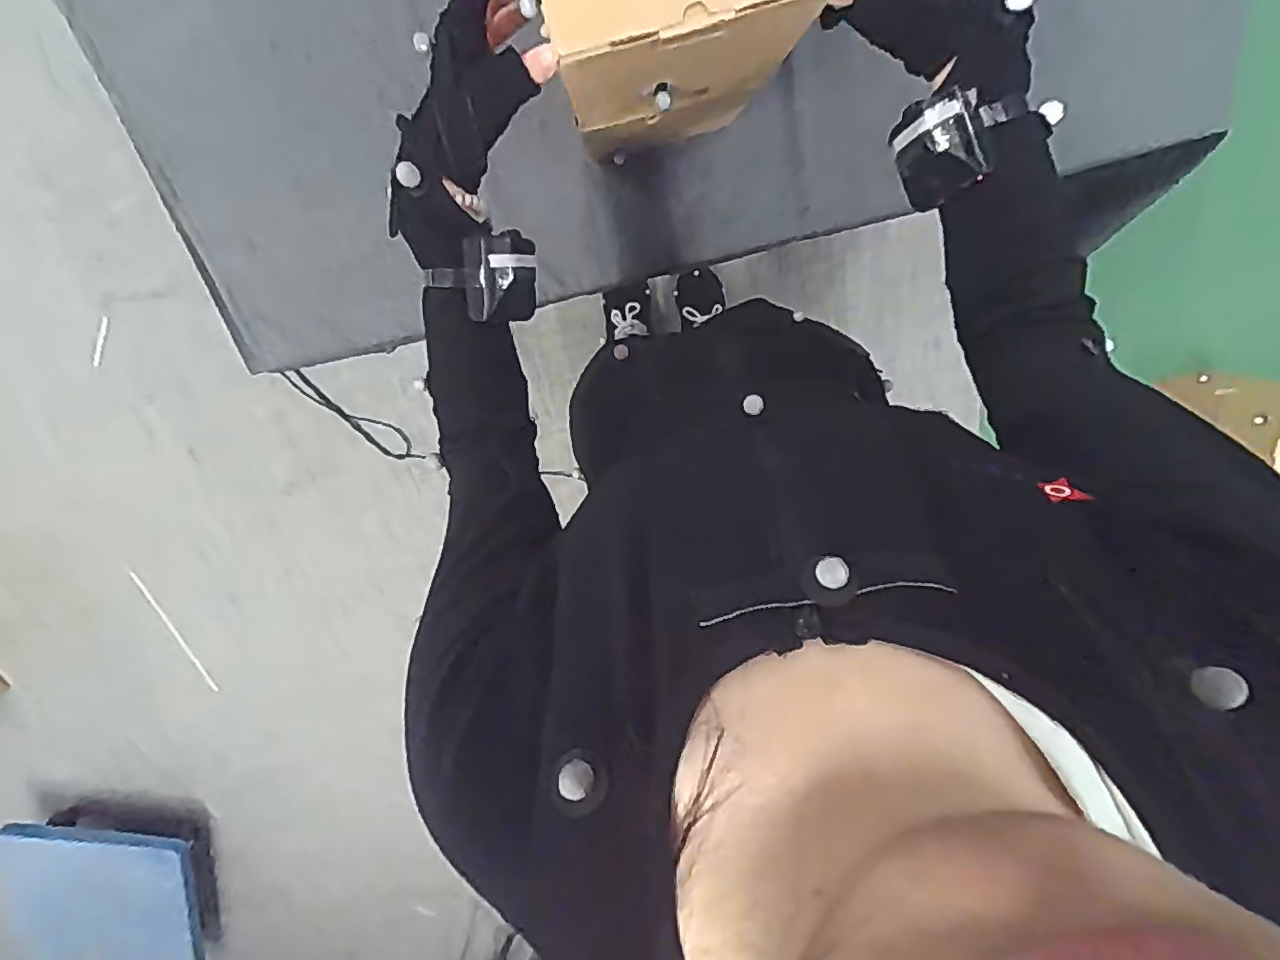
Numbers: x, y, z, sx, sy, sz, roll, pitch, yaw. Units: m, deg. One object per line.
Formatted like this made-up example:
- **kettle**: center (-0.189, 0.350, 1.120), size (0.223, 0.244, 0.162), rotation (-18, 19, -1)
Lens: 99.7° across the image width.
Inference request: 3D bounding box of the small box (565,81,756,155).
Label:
- **small box**: center (0.003, -0.428, 0.510), size (0.168, 0.176, 0.179), rotation (-14, 110, 4)

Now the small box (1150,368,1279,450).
- **small box**: center (1.511, -0.190, 1.422), size (0.179, 0.176, 0.168), rotation (-8, 112, 2)

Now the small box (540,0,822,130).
- **small box**: center (0.007, -0.368, 0.359), size (0.168, 0.176, 0.179), rotation (-13, 112, 4)
